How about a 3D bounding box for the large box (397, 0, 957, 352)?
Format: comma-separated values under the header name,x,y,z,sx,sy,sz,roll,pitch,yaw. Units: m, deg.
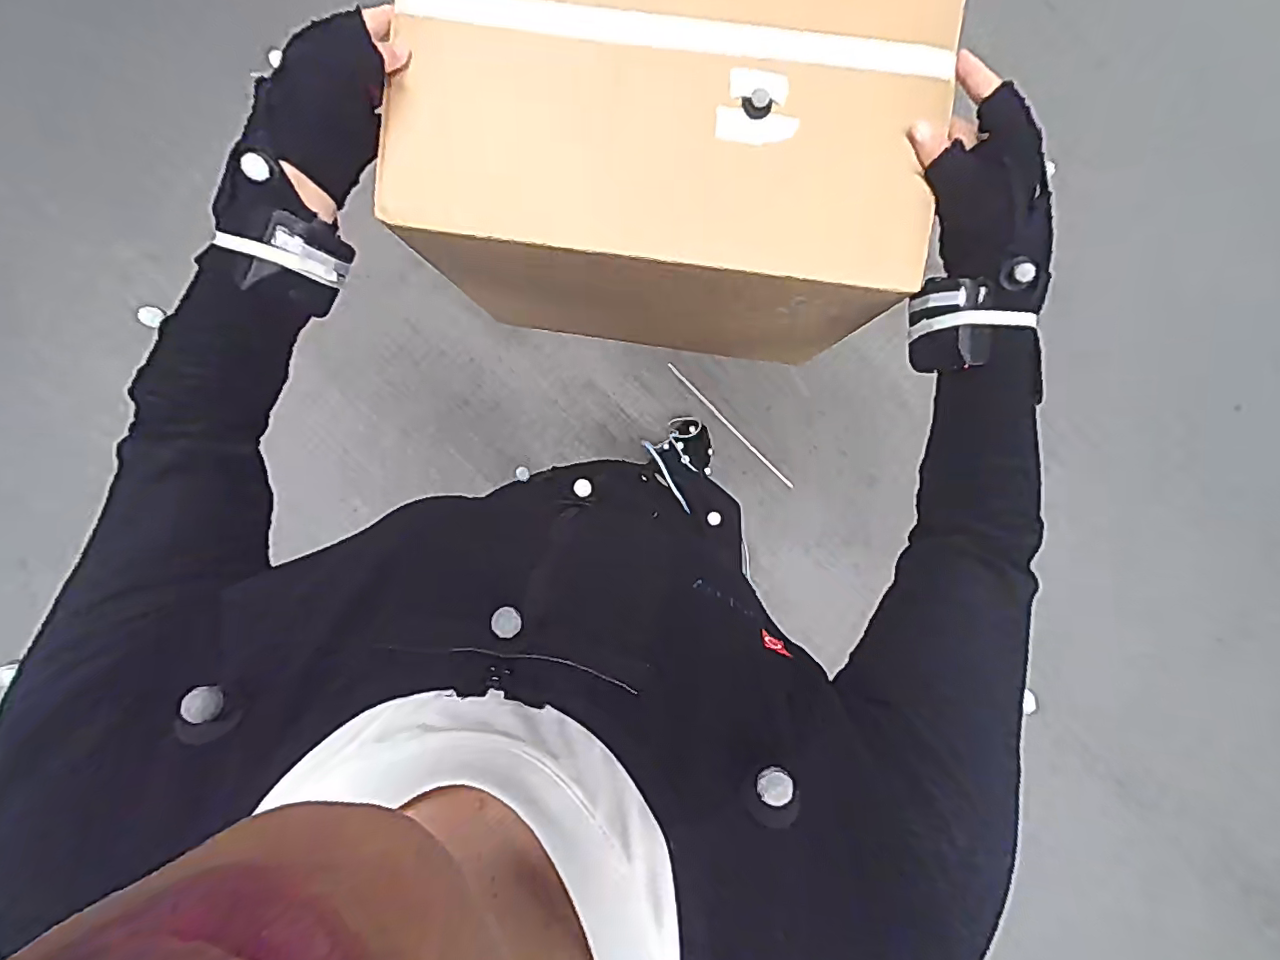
name,x,y,z,sx,sy,sz,roll,pitch,yaw
large box,0.030,-0.332,0.548,0.408,0.320,0.320,8,93,1
